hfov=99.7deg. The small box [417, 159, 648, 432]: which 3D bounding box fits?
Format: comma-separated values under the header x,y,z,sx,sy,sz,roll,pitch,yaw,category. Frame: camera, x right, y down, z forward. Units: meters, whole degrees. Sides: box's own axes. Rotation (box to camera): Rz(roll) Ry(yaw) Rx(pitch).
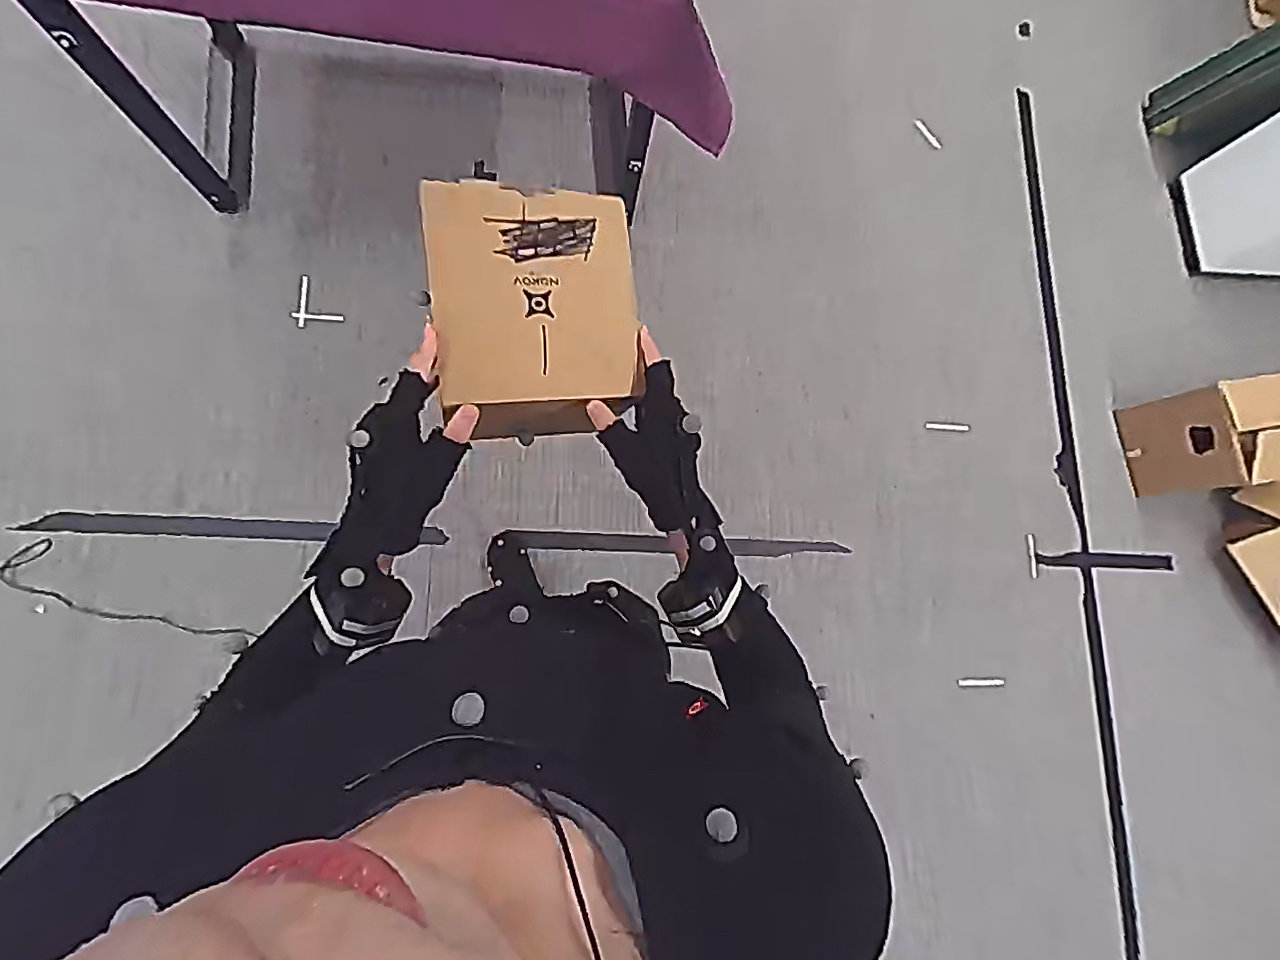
x,y,z,sx,sy,sz,roll,pitch,yaw,category
-0.105,-0.148,0.489,0.168,0.176,0.179,-6,87,-19,small box
